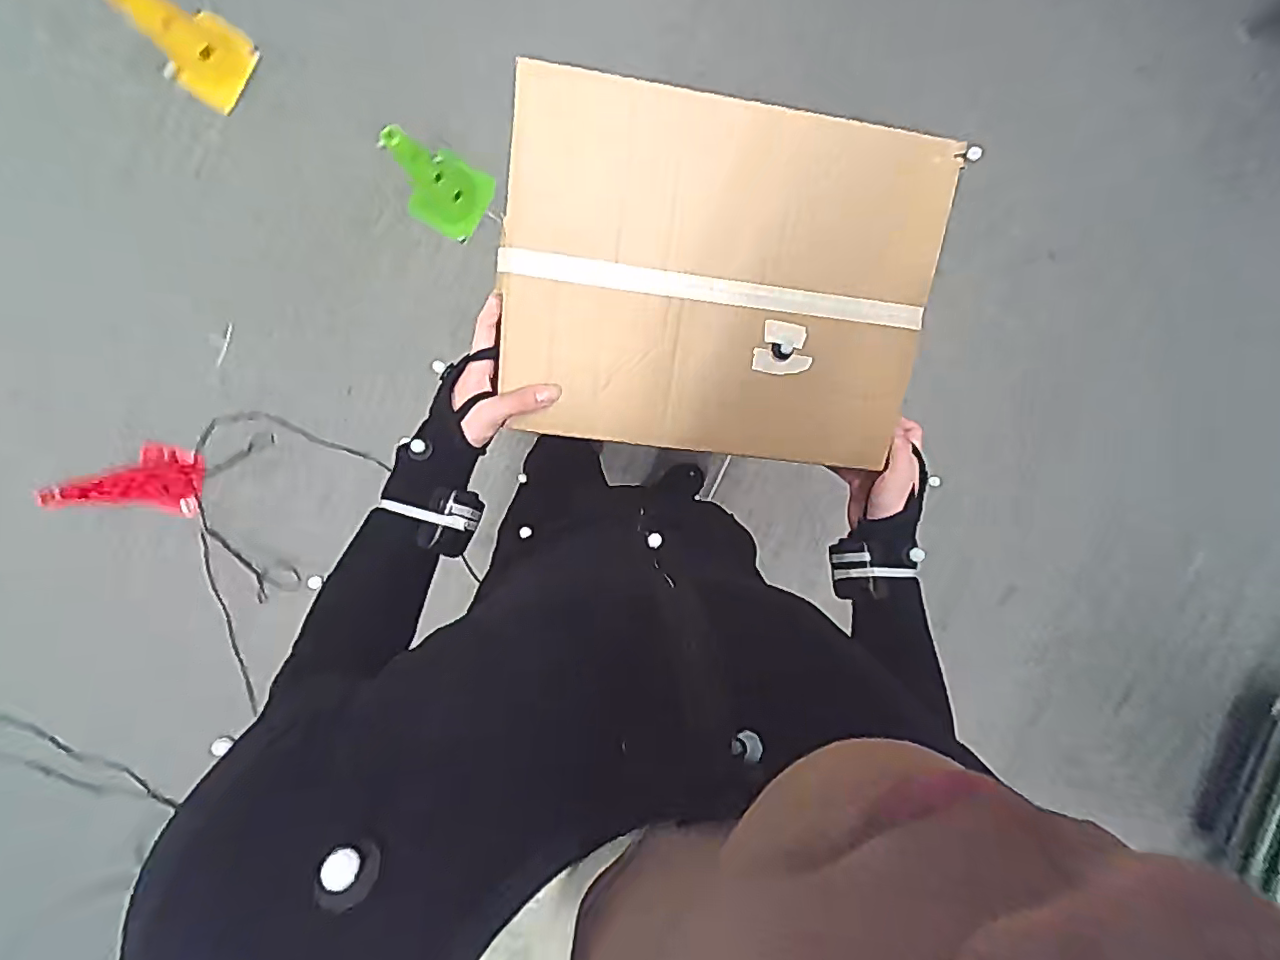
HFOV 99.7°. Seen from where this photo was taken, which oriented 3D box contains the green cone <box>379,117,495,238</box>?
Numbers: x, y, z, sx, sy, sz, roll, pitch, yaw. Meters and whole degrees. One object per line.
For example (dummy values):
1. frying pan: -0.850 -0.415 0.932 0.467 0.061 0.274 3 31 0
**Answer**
1. green cone: -0.542 -0.799 1.364 0.202 0.368 0.200 31 97 -1
